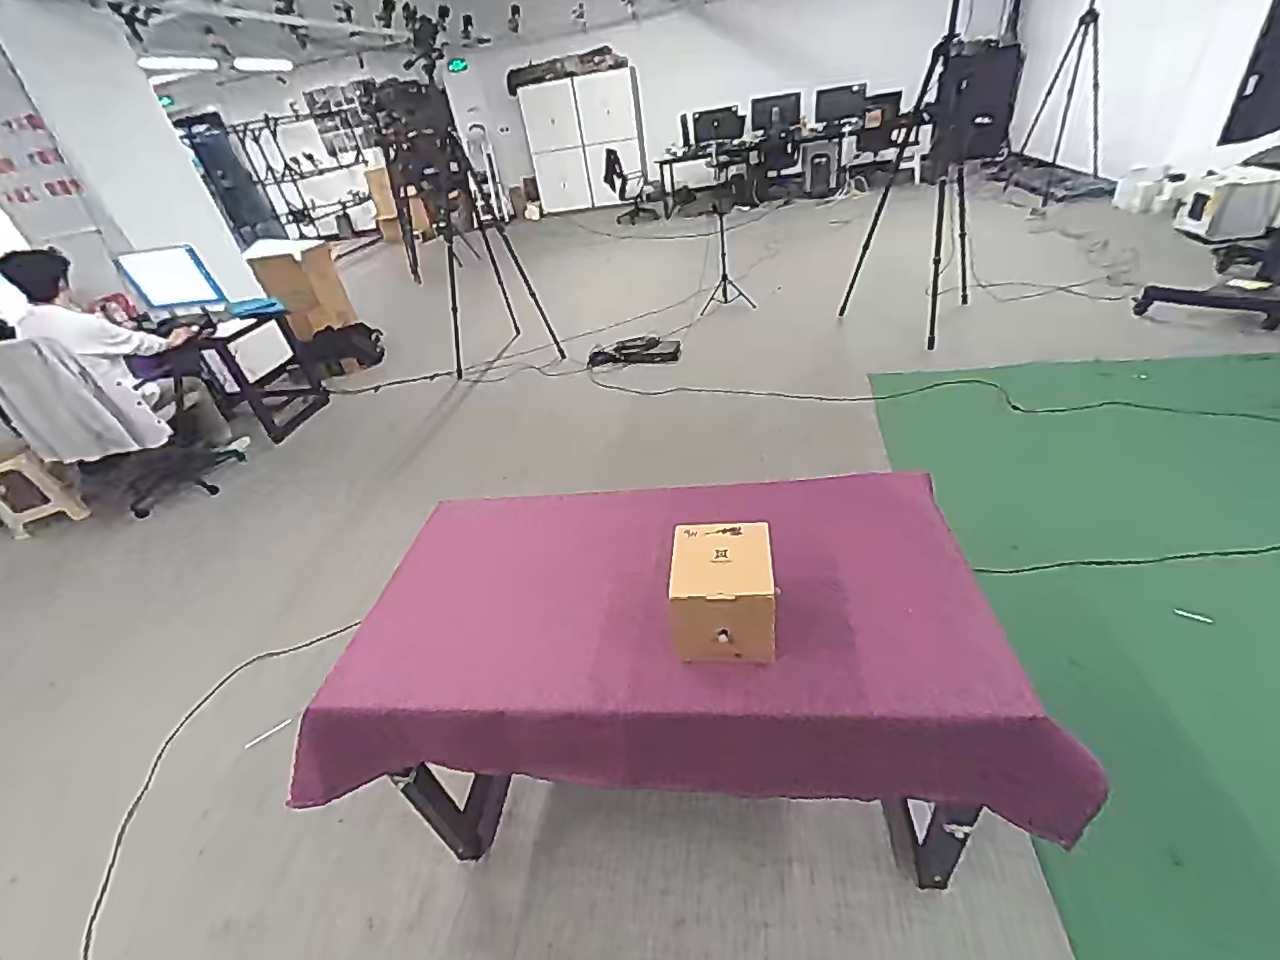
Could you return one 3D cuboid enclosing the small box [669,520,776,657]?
[{"bbox_3d":[0.148,0.192,0.947,0.168,0.176,0.179,-2,37,11],"label":"small box"}]
